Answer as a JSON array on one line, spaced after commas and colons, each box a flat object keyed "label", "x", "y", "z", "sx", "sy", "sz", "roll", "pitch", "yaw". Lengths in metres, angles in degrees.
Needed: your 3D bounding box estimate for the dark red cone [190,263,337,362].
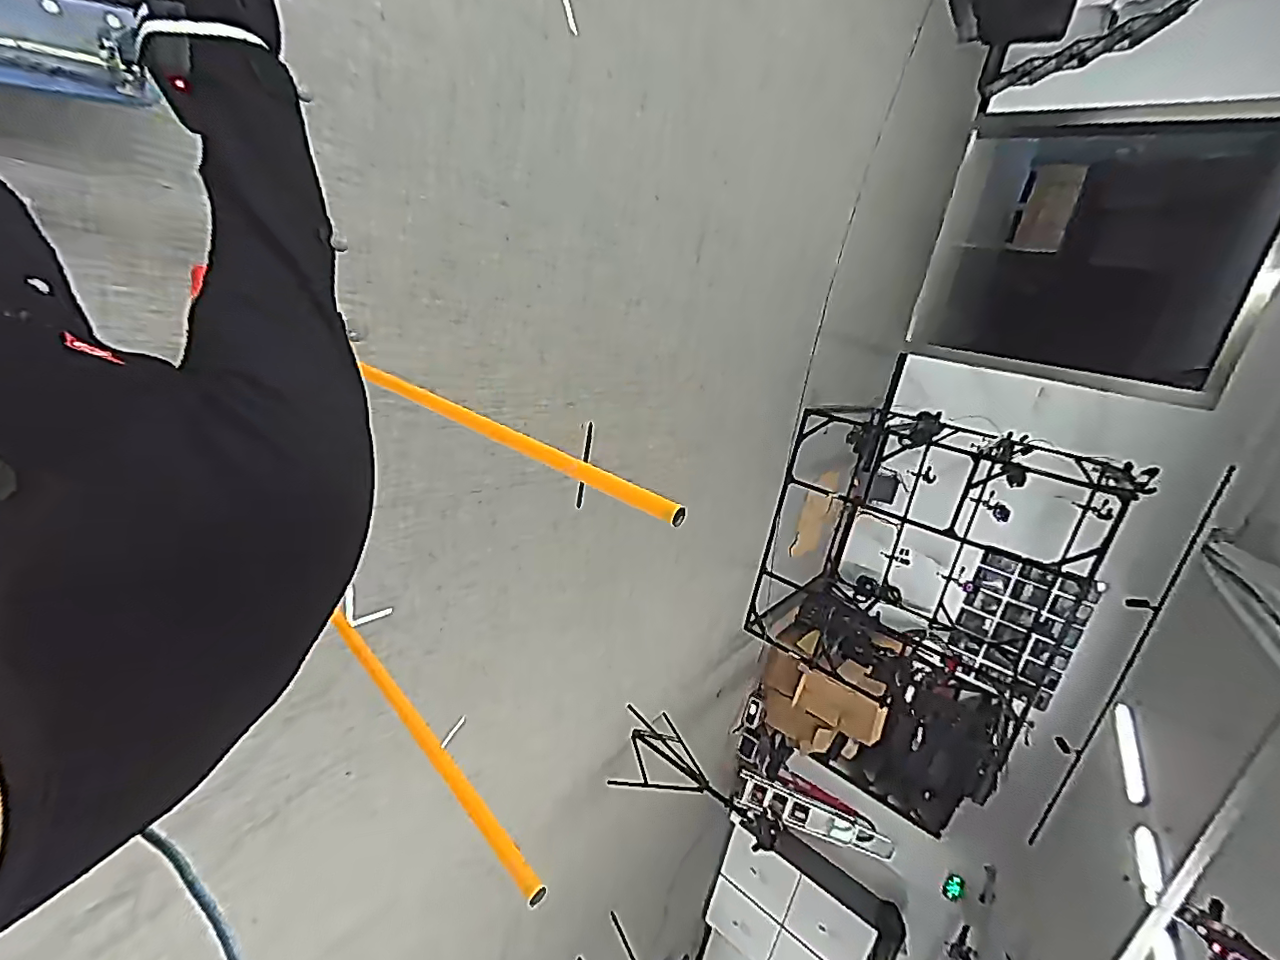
[{"label": "dark red cone", "x": -0.750, "y": -0.316, "z": 1.126, "sx": 0.201, "sy": 0.394, "sz": 0.202, "roll": -12, "pitch": 119, "yaw": -54}]
